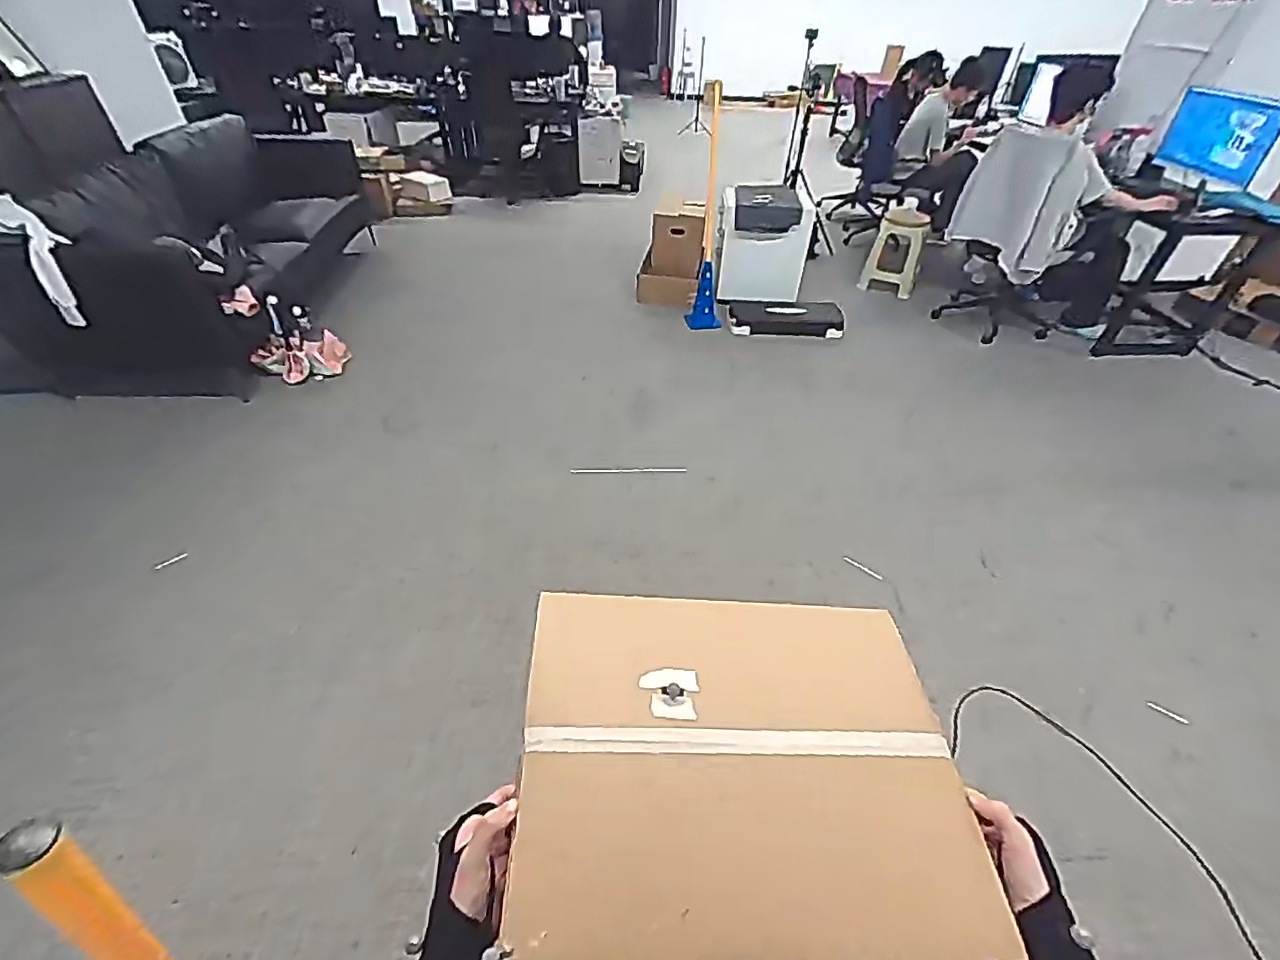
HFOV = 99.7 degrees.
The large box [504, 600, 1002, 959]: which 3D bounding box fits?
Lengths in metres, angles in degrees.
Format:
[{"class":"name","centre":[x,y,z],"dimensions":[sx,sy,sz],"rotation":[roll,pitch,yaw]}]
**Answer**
[{"class":"large box","centre":[0.077,0.355,0.621],"dimensions":[0.408,0.320,0.320],"rotation":[4,45,-6]}]
